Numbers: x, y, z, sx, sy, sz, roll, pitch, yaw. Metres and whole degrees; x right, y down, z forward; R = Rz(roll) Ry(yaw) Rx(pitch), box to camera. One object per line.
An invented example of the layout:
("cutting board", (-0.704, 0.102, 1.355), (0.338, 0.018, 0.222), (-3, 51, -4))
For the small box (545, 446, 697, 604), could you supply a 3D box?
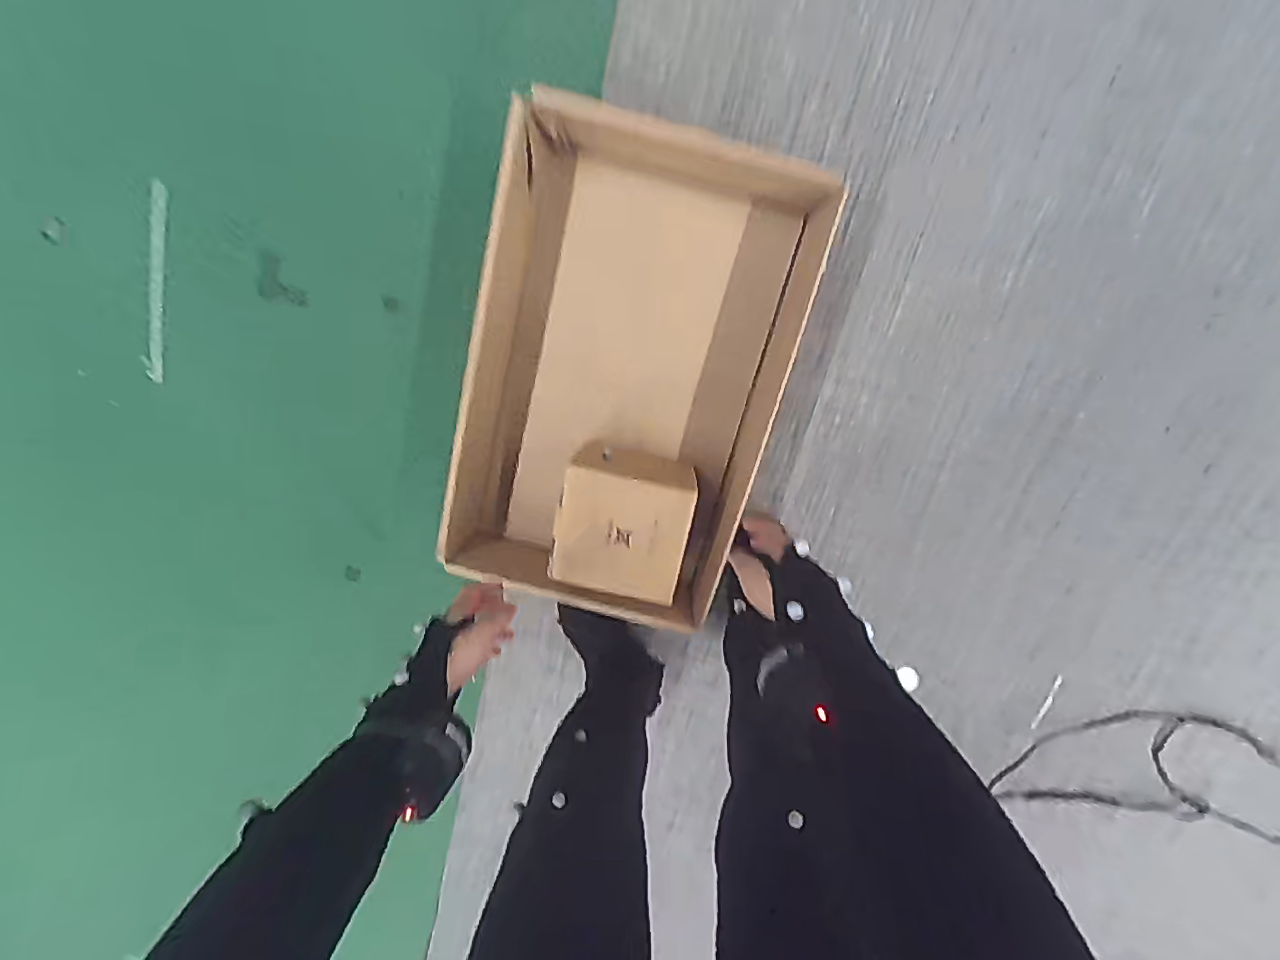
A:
("small box", (-0.024, 0.054, 0.789), (0.179, 0.176, 0.168), (12, 105, -1))
